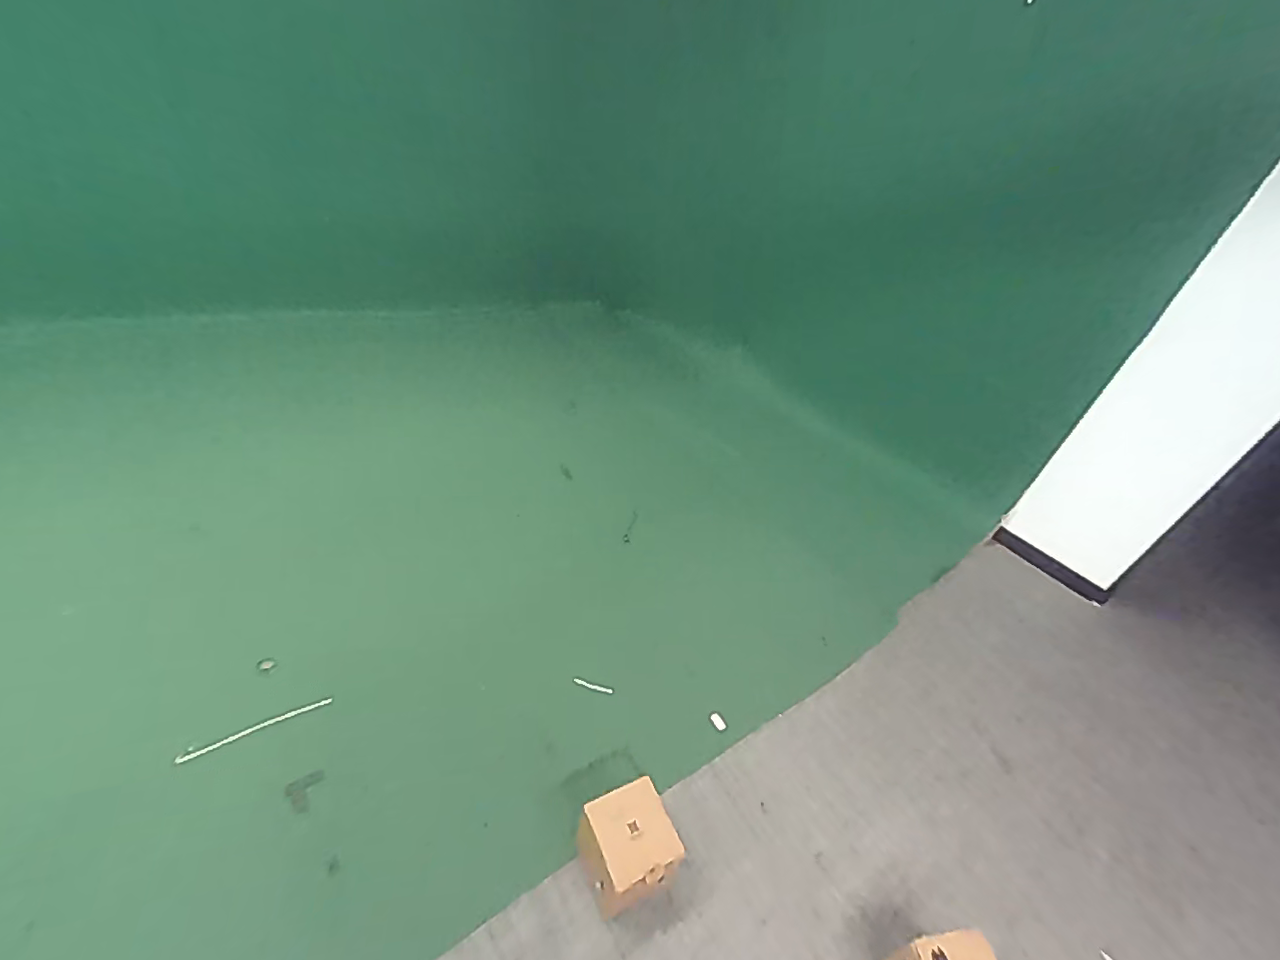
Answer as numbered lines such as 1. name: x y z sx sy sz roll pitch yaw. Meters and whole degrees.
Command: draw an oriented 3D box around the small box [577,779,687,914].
1. small box: -0.024 0.805 1.182 0.168 0.176 0.179 -9 40 -30
